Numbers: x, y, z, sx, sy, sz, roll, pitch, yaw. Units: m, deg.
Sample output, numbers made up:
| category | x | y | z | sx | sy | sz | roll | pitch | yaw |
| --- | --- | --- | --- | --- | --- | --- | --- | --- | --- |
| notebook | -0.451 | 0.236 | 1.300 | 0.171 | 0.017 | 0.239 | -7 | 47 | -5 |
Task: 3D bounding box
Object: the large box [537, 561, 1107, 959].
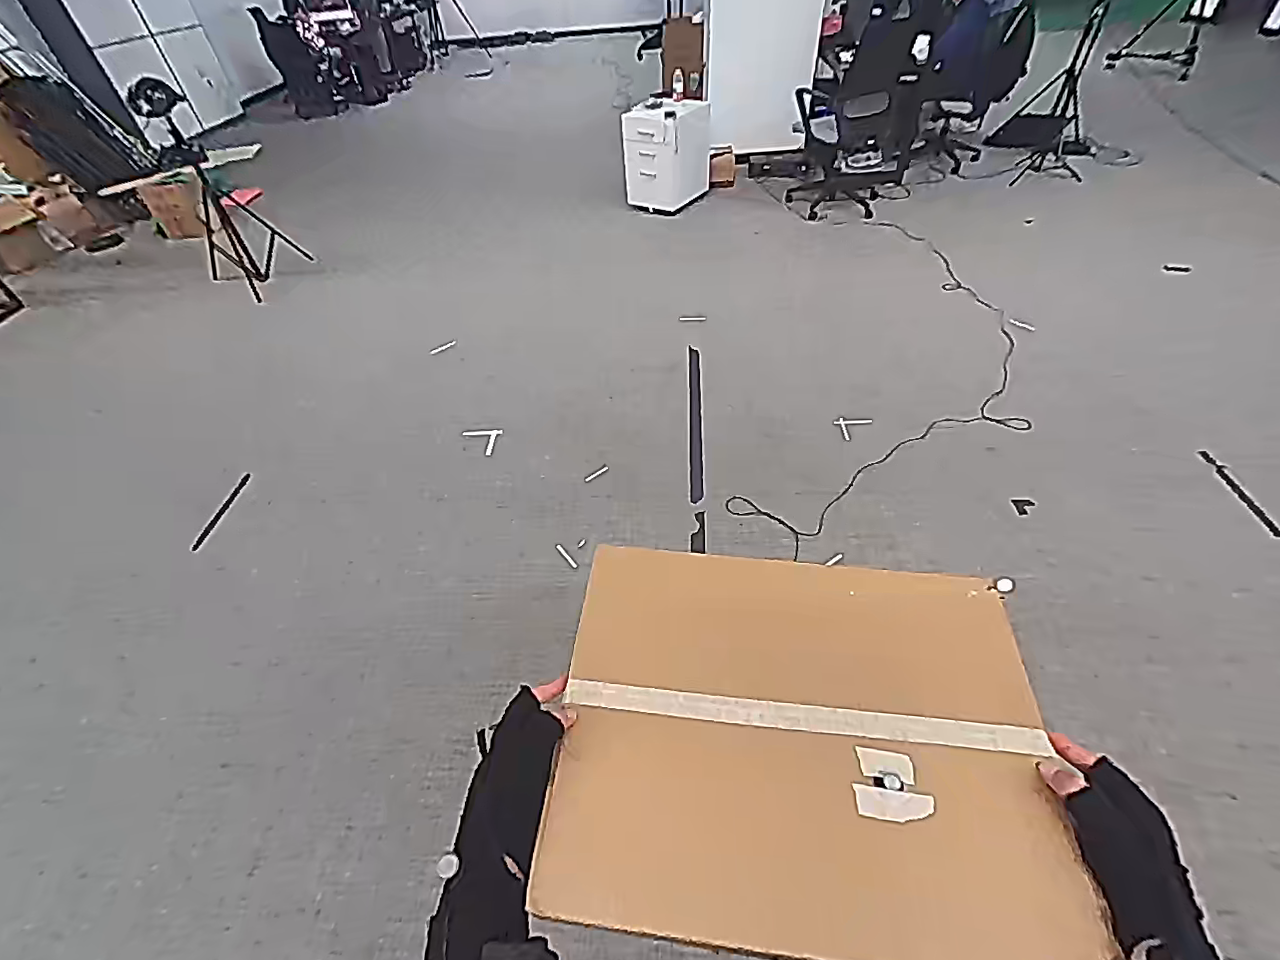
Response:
| category | x | y | z | sx | sy | sz | roll | pitch | yaw |
| --- | --- | --- | --- | --- | --- | --- | --- | --- | --- |
| large box | 0.137 | 0.312 | 0.581 | 0.408 | 0.320 | 0.320 | 5 | 51 | 5 |
